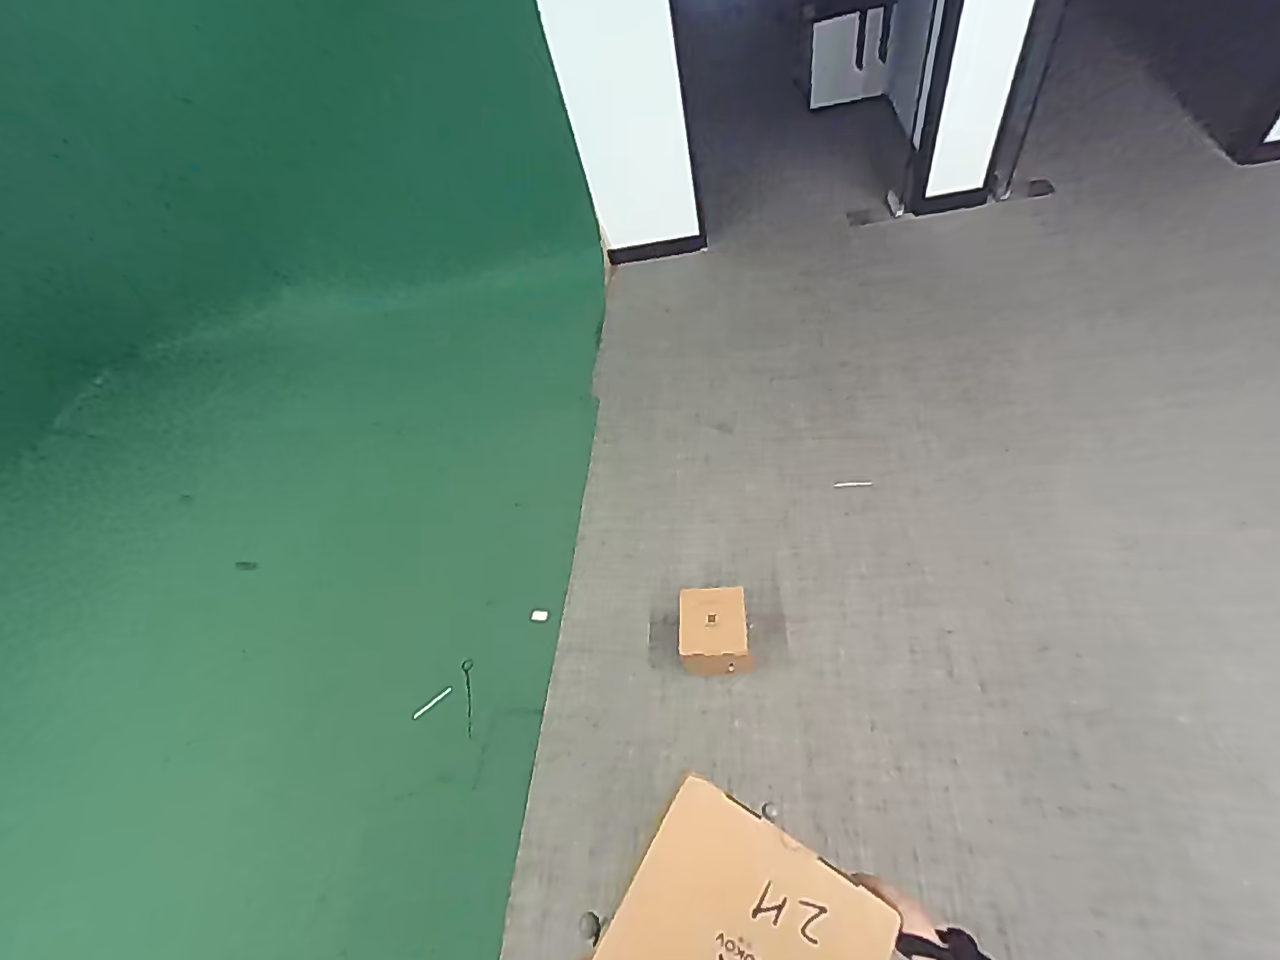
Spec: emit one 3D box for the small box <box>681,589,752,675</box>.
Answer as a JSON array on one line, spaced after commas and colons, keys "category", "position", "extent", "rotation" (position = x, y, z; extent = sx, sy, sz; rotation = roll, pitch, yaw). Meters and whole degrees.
[{"category": "small box", "position": [0.202, 0.401, 1.410], "extent": [0.168, 0.176, 0.179], "rotation": [-4, 53, 11]}]
